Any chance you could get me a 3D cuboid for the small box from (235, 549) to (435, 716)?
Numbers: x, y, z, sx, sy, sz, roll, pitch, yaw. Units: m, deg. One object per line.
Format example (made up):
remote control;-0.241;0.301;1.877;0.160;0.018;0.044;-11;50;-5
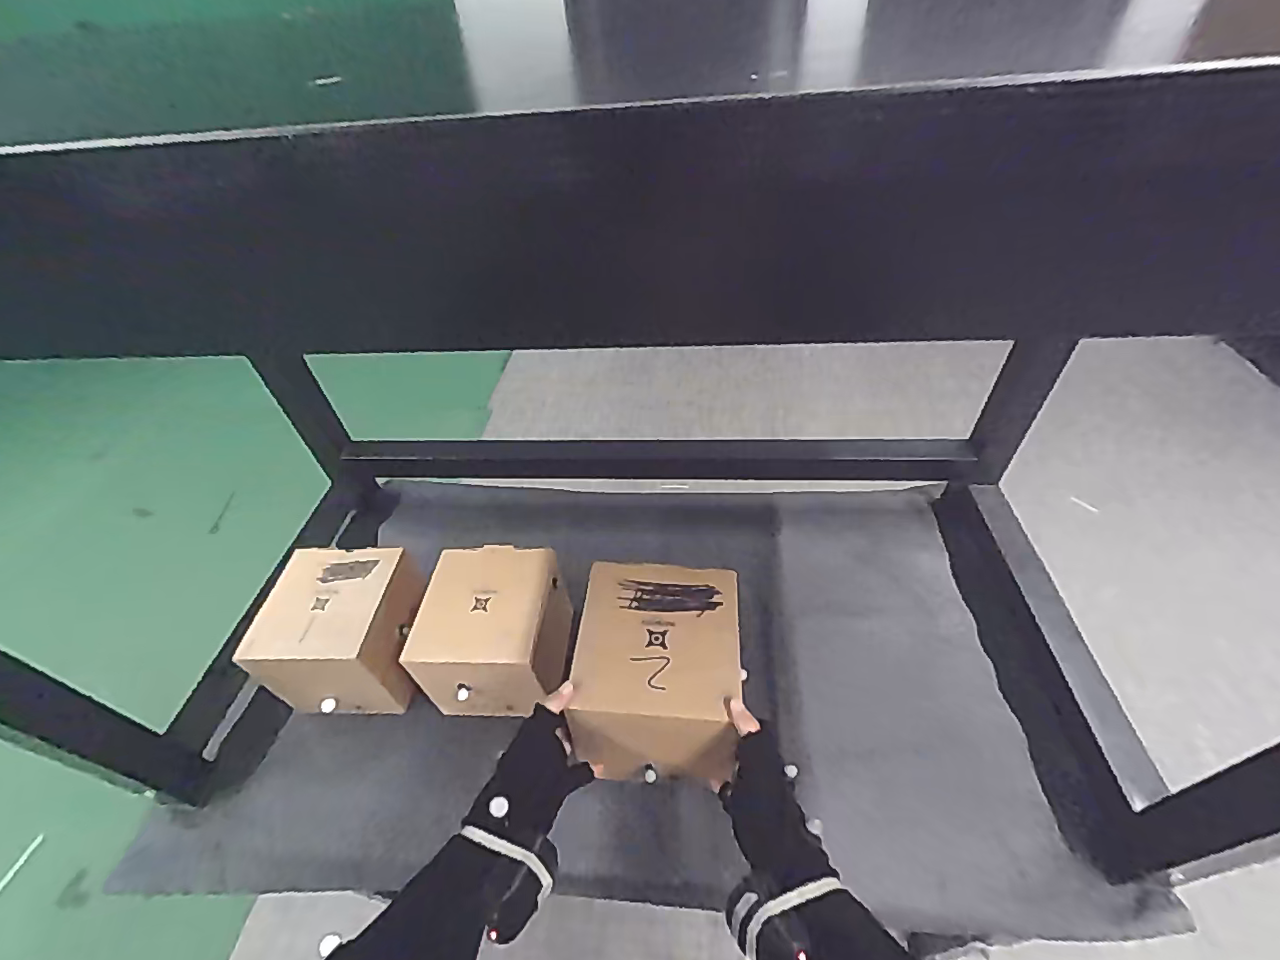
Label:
small box;-0.419;0.219;0.785;0.168;0.176;0.179;-2;45;5
